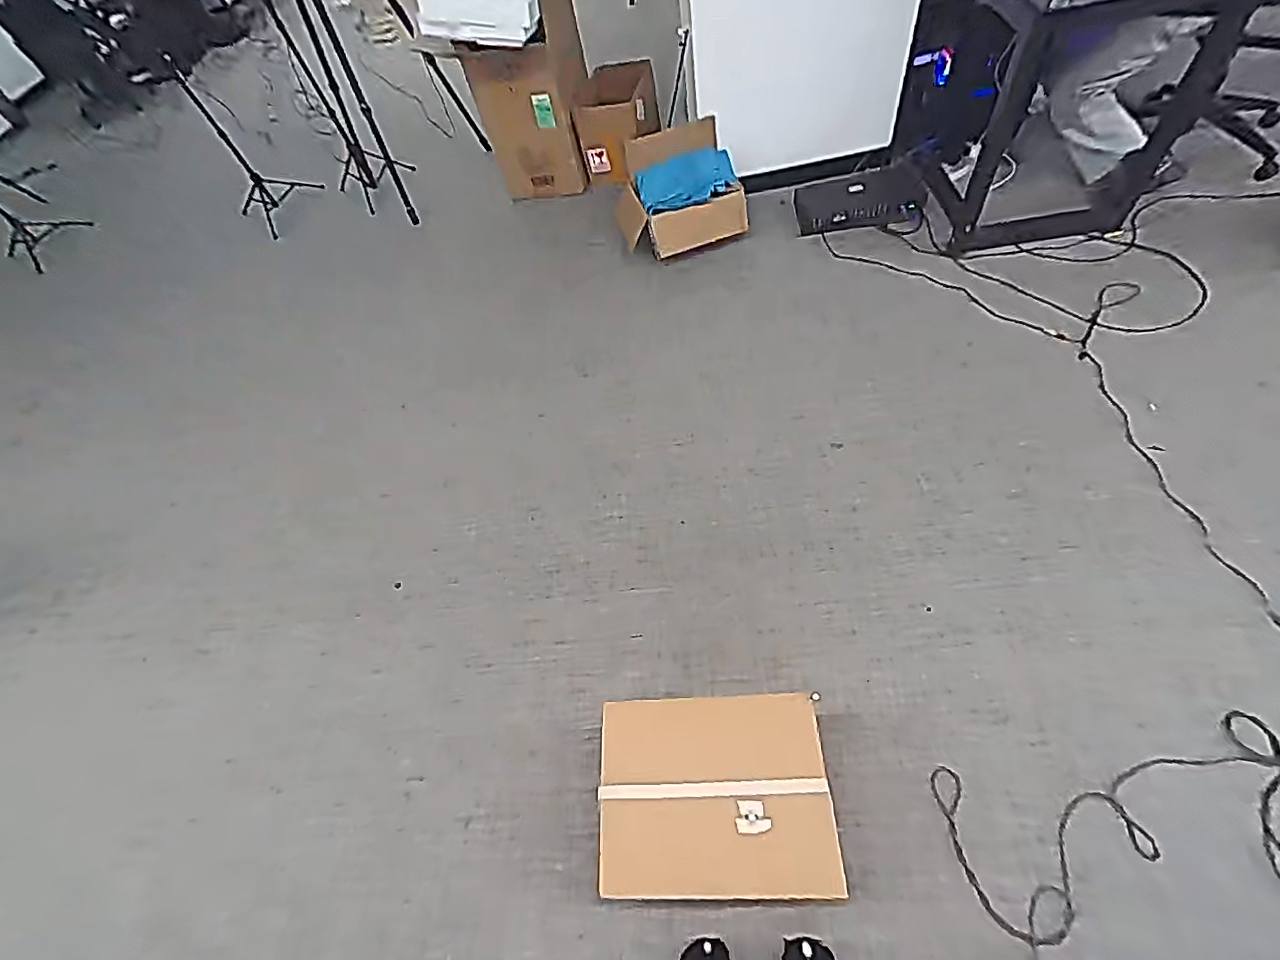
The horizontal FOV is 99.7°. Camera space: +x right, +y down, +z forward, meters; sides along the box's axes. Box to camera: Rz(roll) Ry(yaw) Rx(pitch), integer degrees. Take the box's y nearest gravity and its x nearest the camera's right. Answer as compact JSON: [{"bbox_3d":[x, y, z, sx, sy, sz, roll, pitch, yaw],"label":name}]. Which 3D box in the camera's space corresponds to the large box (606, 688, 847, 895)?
[{"bbox_3d":[0.156,0.627,1.090,0.408,0.320,0.320,-6,57,7],"label":"large box"}]
